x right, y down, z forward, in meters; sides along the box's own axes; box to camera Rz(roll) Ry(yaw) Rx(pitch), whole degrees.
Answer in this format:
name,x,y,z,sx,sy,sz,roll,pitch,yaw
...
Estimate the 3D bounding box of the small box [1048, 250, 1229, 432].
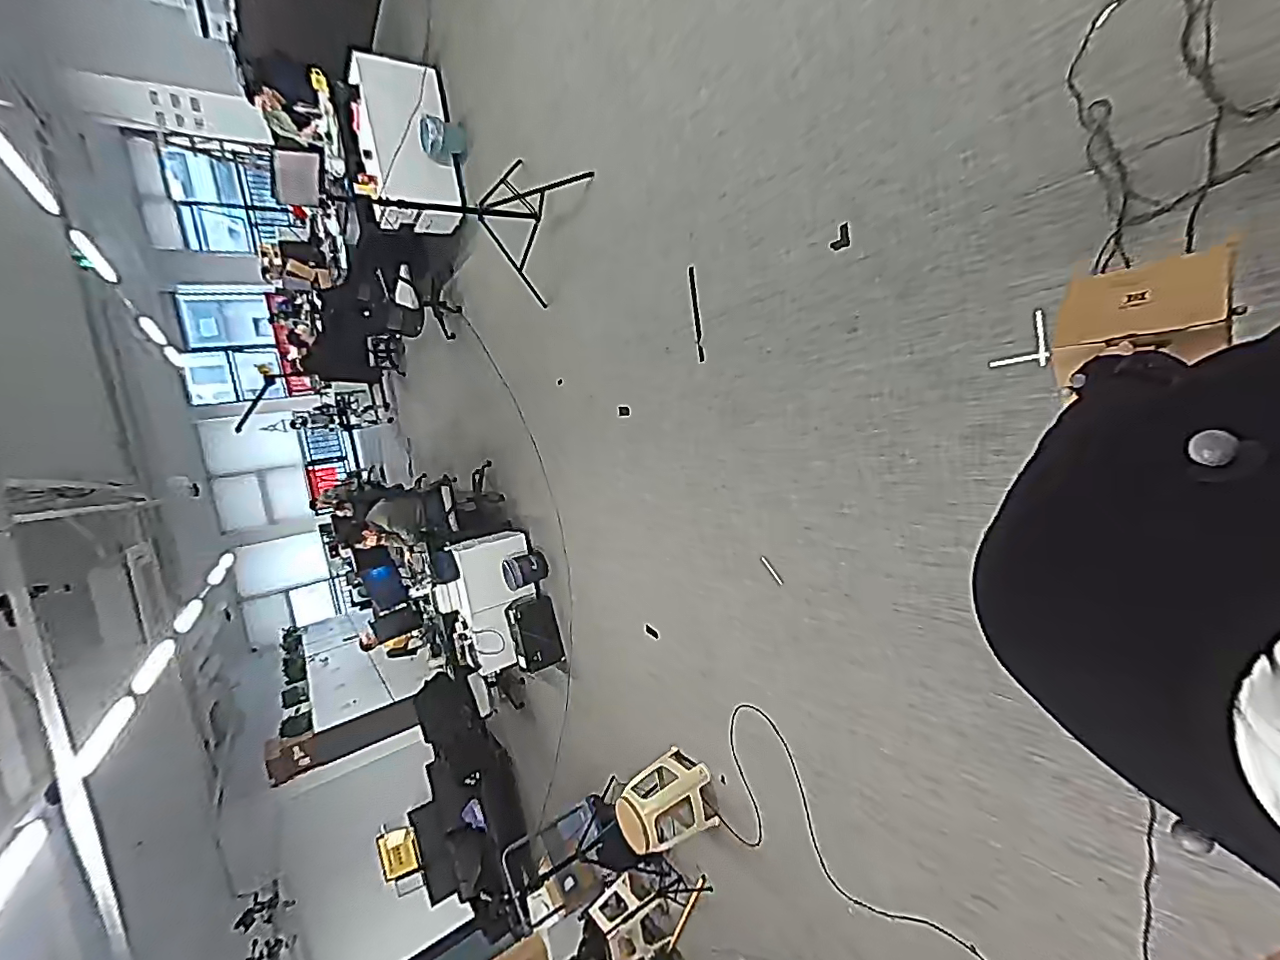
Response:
name,x,y,z,sx,sy,sz,roll,pitch,yaw
small box,0.696,-0.179,0.752,0.168,0.179,0.176,0,134,48
